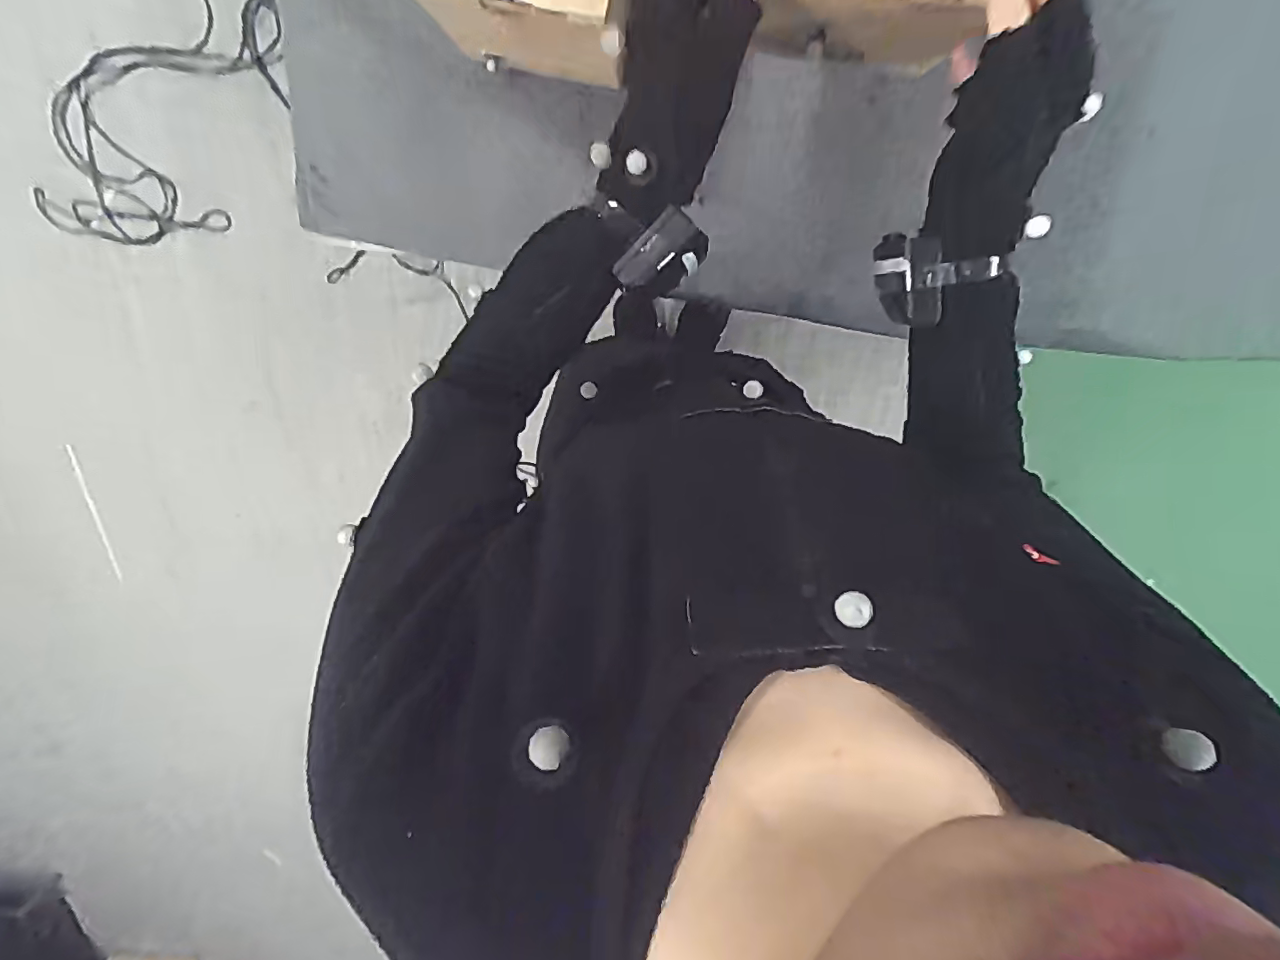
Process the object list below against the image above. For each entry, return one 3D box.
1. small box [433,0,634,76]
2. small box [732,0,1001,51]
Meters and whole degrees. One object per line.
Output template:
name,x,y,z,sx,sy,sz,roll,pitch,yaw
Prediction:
small box,-0.087,-0.492,0.474,0.168,0.176,0.179,10,111,-1
small box,0.150,-0.395,0.327,0.168,0.176,0.179,9,119,3
